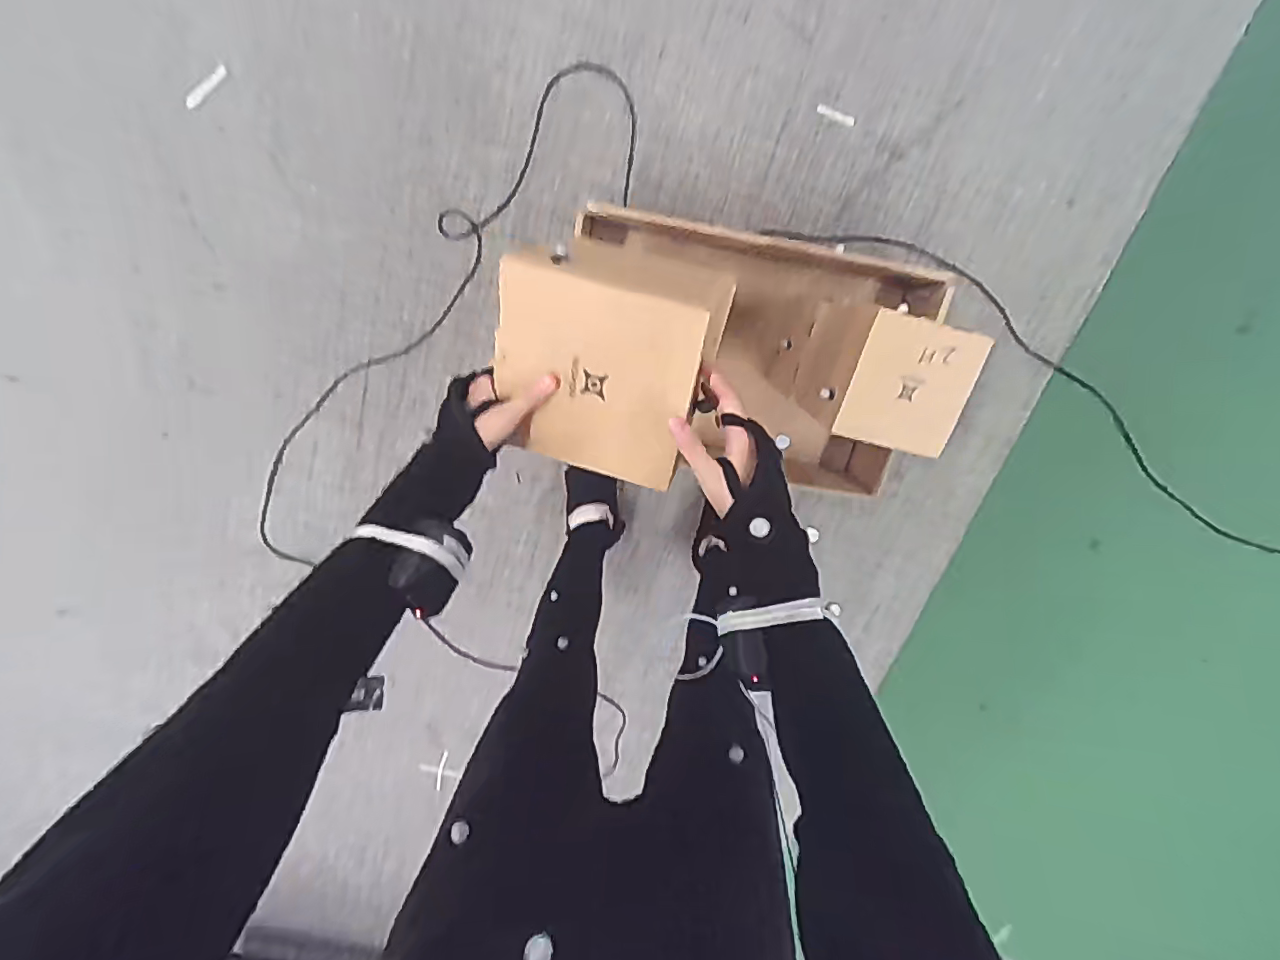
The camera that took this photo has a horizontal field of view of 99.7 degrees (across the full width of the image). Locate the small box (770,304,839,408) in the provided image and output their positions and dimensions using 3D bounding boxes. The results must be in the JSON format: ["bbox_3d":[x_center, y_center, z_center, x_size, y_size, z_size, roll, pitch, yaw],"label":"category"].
[{"bbox_3d":[0.348,-0.207,0.960,0.179,0.176,0.168,14,110,-4],"label":"small box"}]

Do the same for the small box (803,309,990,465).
[{"bbox_3d":[0.362,-0.145,0.806,0.168,0.176,0.179,14,109,-6],"label":"small box"}]

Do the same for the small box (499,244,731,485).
[{"bbox_3d":[-0.017,-0.123,0.527,0.179,0.176,0.168,16,120,6],"label":"small box"}]
